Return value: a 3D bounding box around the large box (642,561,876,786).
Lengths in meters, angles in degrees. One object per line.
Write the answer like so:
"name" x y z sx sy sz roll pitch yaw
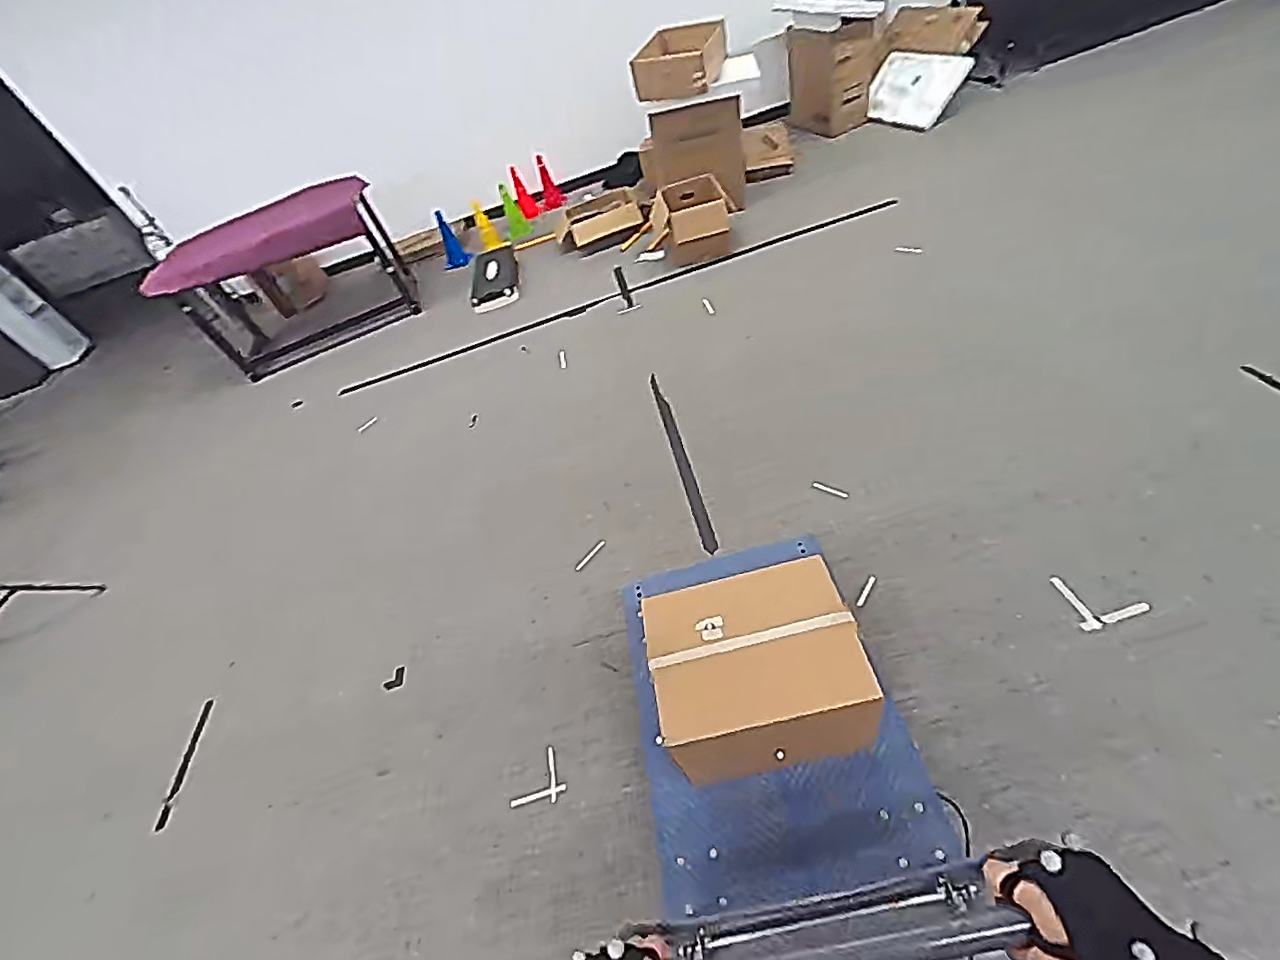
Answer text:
"large box" 0.254 0.434 1.196 0.408 0.320 0.320 -17 45 5
